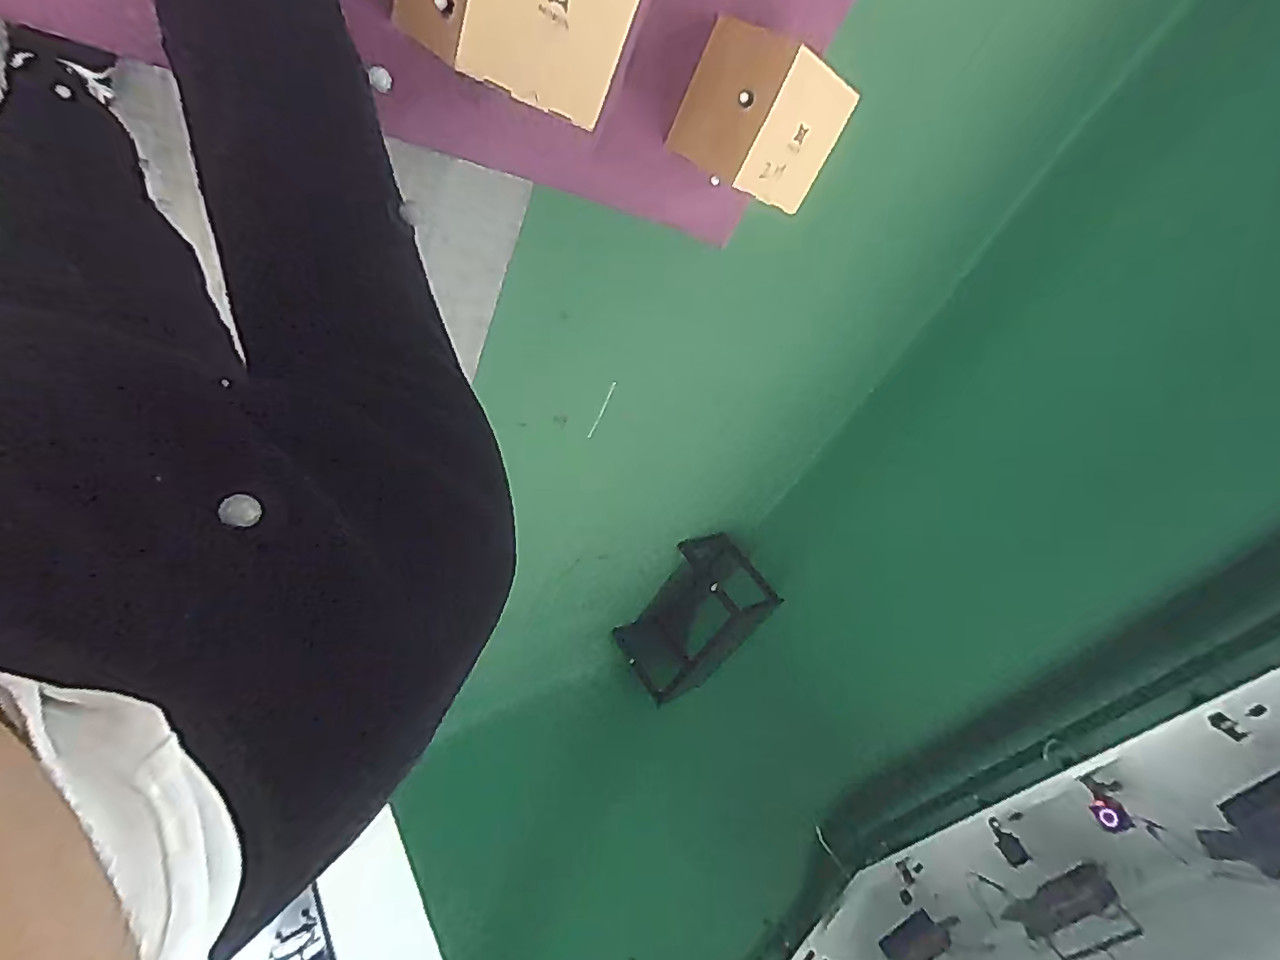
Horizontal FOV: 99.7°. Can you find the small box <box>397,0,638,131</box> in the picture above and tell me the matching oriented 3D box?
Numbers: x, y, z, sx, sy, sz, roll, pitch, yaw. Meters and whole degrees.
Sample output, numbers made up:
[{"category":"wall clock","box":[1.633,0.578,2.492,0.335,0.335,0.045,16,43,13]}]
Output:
[{"category":"small box","box":[-0.121,-0.497,0.538,0.168,0.176,0.179,-8,138,-44]}]

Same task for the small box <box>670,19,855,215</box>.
[{"category":"small box","box":[0.174,-0.539,0.810,0.168,0.176,0.179,-6,136,-44]}]
